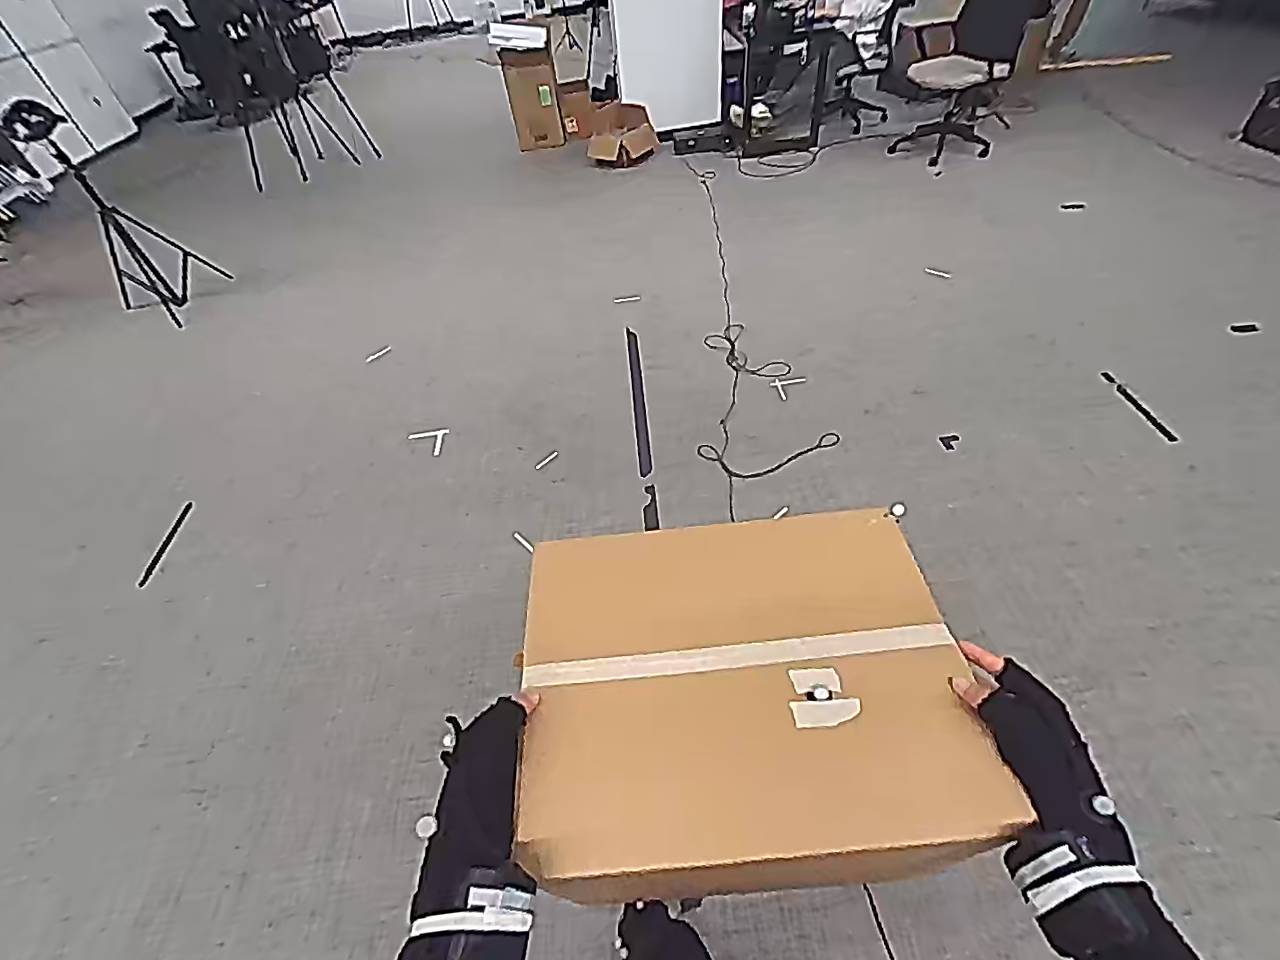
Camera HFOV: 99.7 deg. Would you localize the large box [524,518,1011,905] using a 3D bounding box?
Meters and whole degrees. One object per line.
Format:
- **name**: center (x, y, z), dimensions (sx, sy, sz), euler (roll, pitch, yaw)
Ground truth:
- **large box**: center (0.100, 0.277, 0.639), dimensions (0.408, 0.320, 0.320), euler (-6, 49, 0)
